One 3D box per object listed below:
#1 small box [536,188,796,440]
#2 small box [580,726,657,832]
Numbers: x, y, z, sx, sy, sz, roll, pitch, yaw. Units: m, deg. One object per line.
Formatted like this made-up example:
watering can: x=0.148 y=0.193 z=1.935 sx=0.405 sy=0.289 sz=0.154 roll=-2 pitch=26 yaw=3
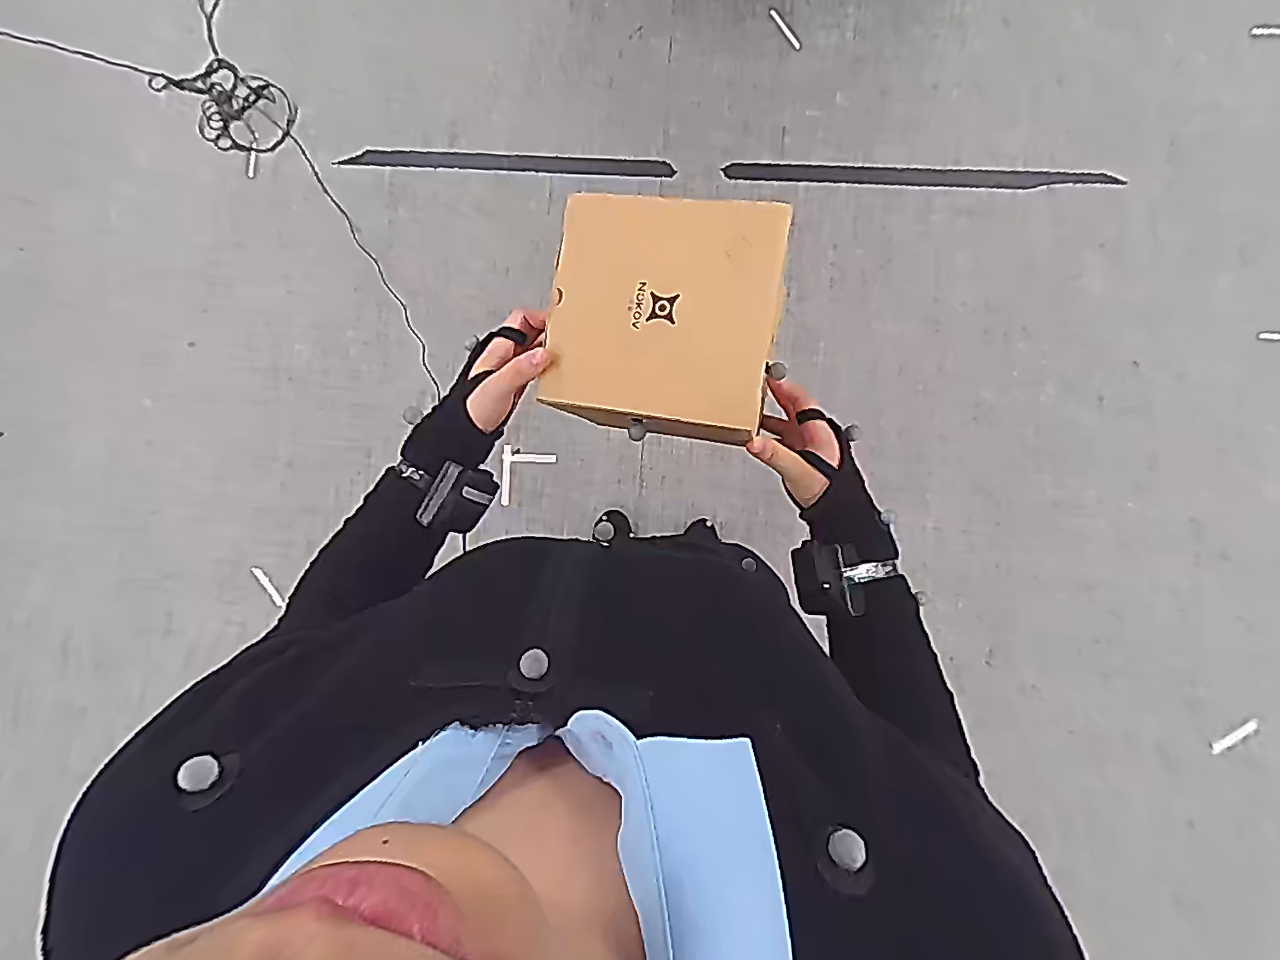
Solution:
small box: x=0.033 y=-0.131 z=0.481 sx=0.179 sy=0.176 sz=0.168 roll=10 pitch=91 yaw=14
small box: x=-0.050 y=0.760 z=1.396 sx=0.168 sy=0.176 sz=0.179 roll=7 pitch=88 yaw=6
